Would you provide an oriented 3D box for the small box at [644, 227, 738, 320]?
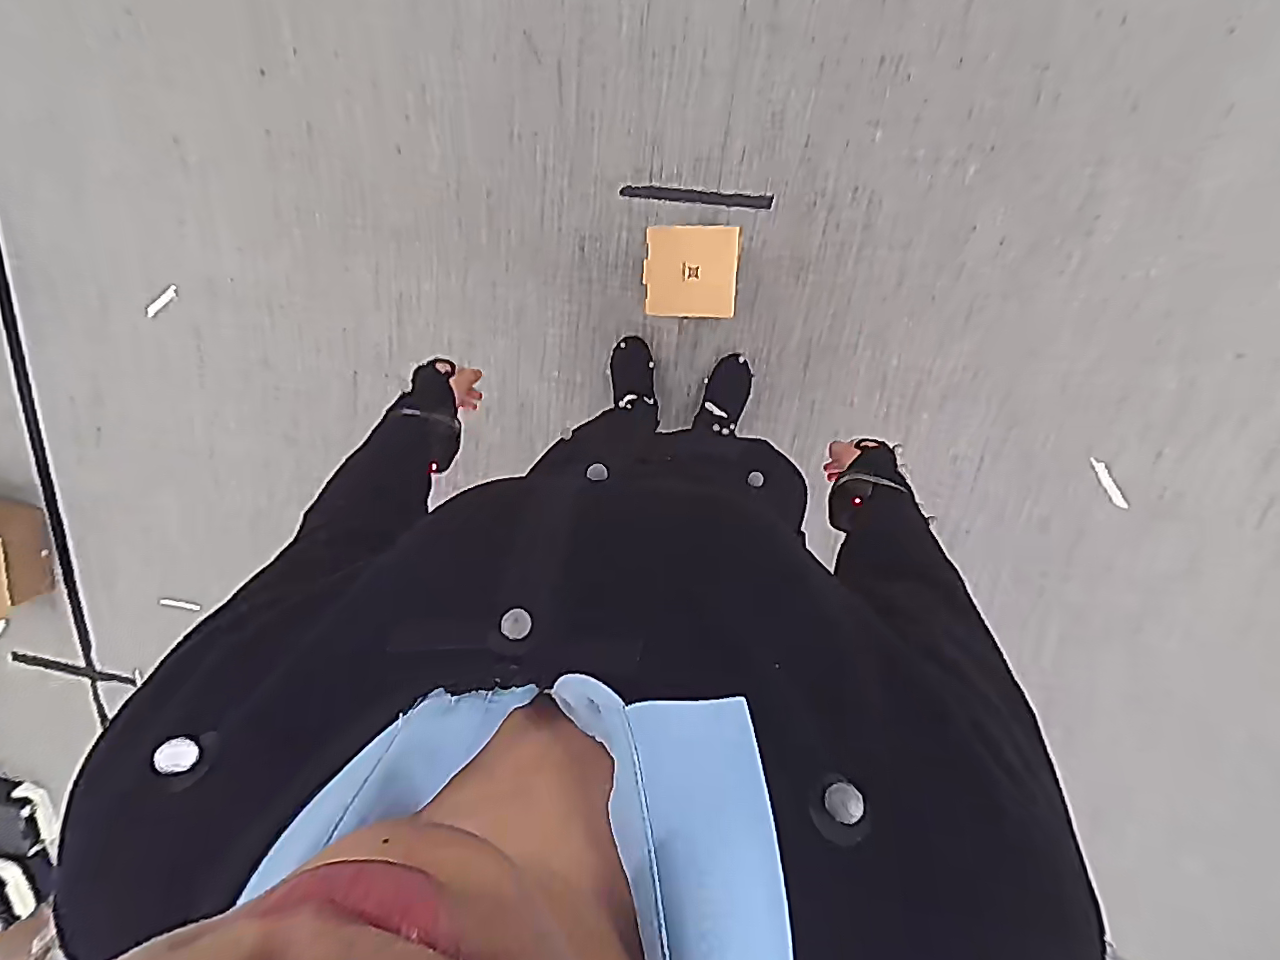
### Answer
[{"bbox_3d":[0.105,-0.420,1.112,0.179,0.176,0.168,4,108,8],"label":"small box"}]
